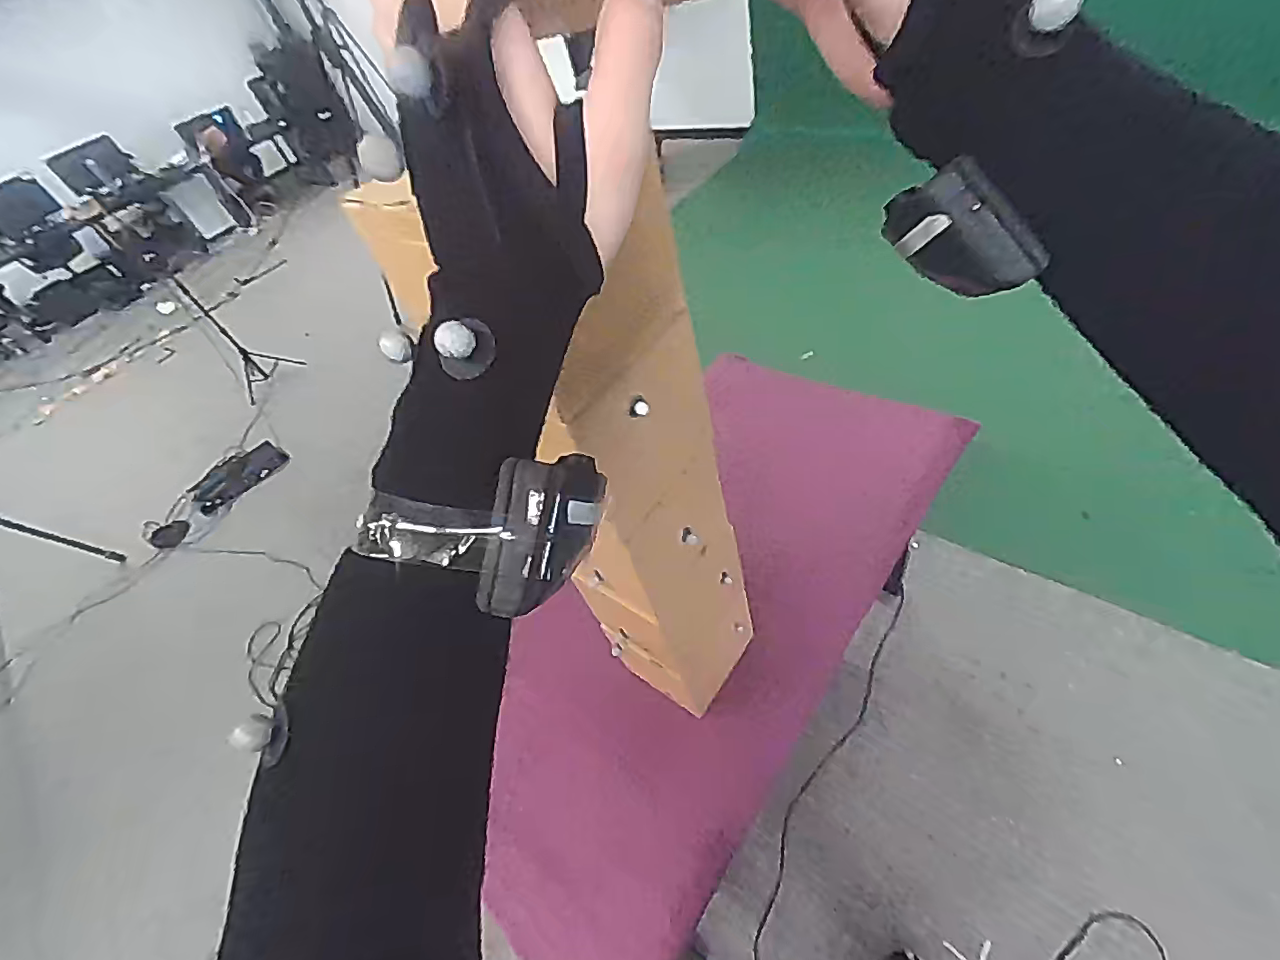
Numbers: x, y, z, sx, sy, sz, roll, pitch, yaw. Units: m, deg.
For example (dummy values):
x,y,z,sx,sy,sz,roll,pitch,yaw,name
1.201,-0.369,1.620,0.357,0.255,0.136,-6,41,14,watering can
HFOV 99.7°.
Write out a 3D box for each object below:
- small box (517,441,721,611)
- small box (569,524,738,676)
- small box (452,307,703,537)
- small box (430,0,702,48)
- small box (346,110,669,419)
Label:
x,y,z,sx,sy,sz,roll,pitch,yaw,name
-0.015,0.039,0.683,0.179,0.176,0.168,23,58,34,small box
0.030,0.149,0.795,0.168,0.176,0.179,23,59,35,small box
-0.051,-0.069,0.566,0.168,0.176,0.179,22,57,34,small box
-0.036,-0.319,0.209,0.168,0.176,0.179,46,62,6,small box
-0.091,-0.181,0.455,0.168,0.176,0.179,22,59,34,small box
